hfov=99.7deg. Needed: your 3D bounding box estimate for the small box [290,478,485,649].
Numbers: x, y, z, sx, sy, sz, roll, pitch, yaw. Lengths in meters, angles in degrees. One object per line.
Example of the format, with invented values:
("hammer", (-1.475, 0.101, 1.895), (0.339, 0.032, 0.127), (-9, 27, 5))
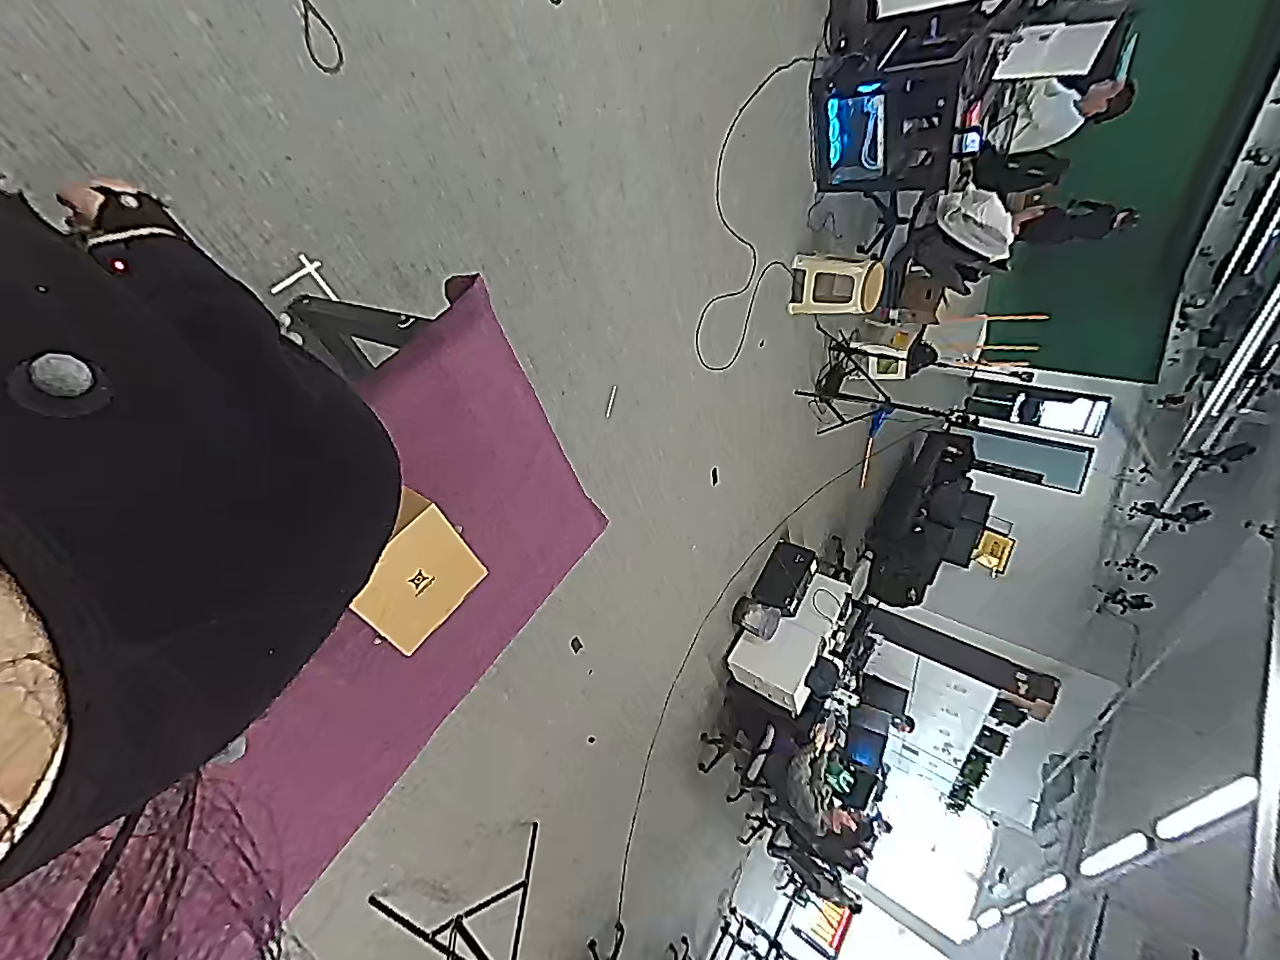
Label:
("small box", (-0.378, 0.115, 0.817), (0.168, 0.176, 0.179), (-50, 142, -27))
